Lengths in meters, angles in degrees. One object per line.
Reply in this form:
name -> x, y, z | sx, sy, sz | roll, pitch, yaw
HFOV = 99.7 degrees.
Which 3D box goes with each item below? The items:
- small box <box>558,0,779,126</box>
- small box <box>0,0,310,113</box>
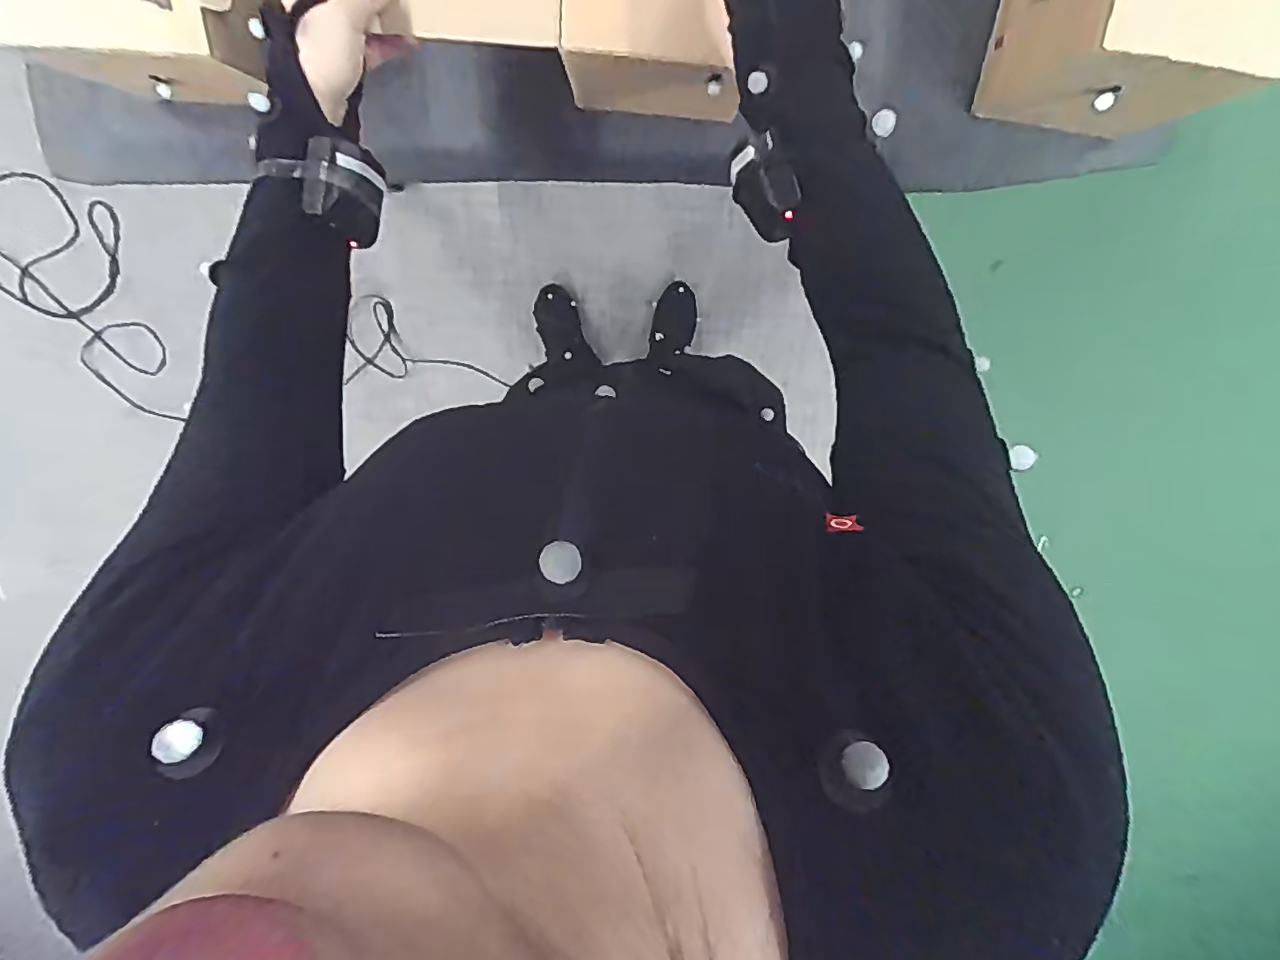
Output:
small box -> 0.024, -0.437, 0.486 | 0.179, 0.176, 0.168 | 2, 111, -3
small box -> -0.419, -0.436, 0.470 | 0.179, 0.176, 0.168 | 2, 113, -2
